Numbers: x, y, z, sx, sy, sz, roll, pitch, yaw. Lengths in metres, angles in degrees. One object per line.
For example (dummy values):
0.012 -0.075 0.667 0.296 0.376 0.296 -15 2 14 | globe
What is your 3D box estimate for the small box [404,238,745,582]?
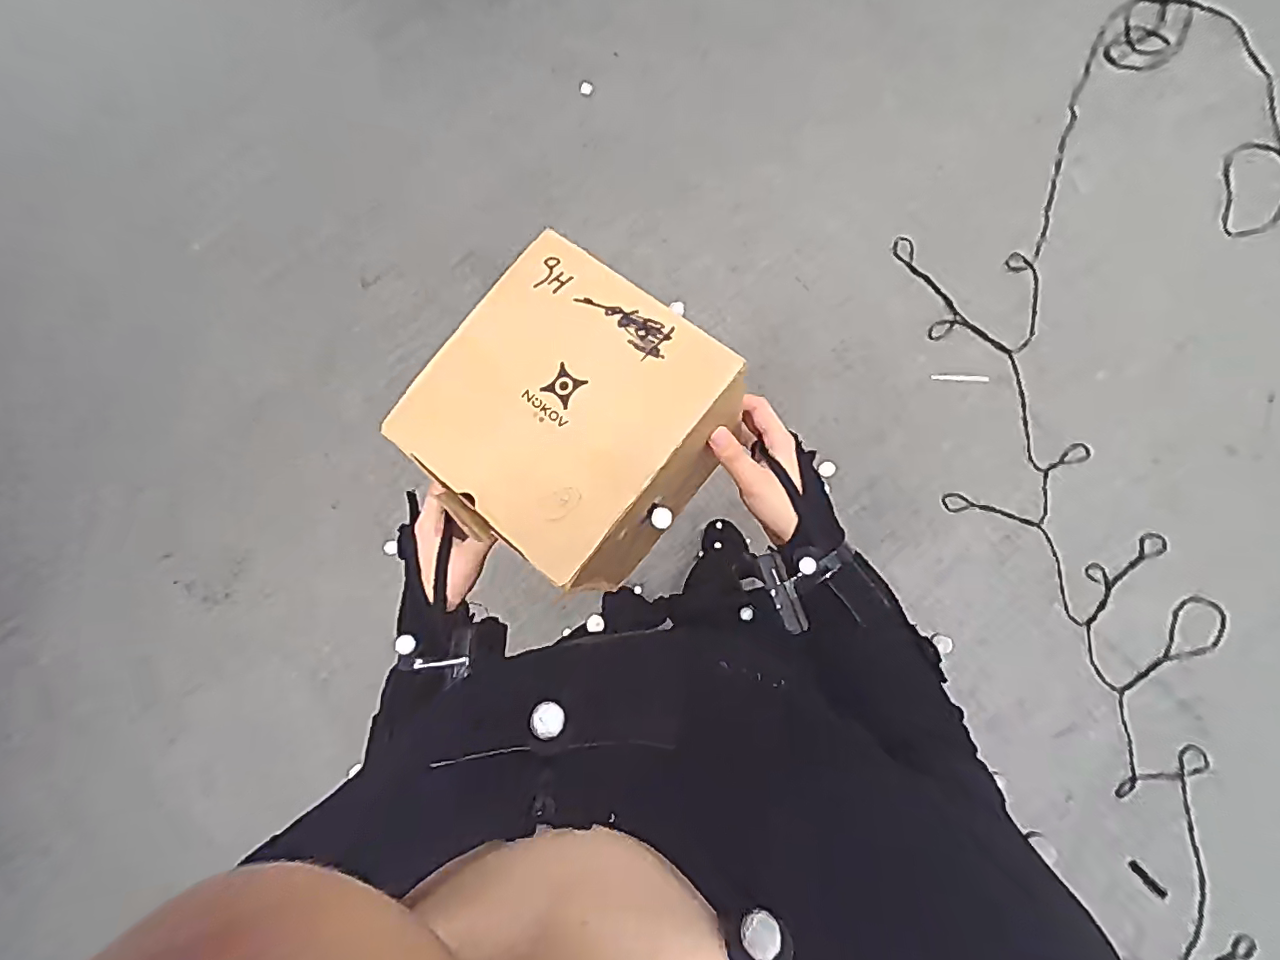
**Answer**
-0.033 -0.037 0.424 0.168 0.176 0.179 38 88 14 | small box
